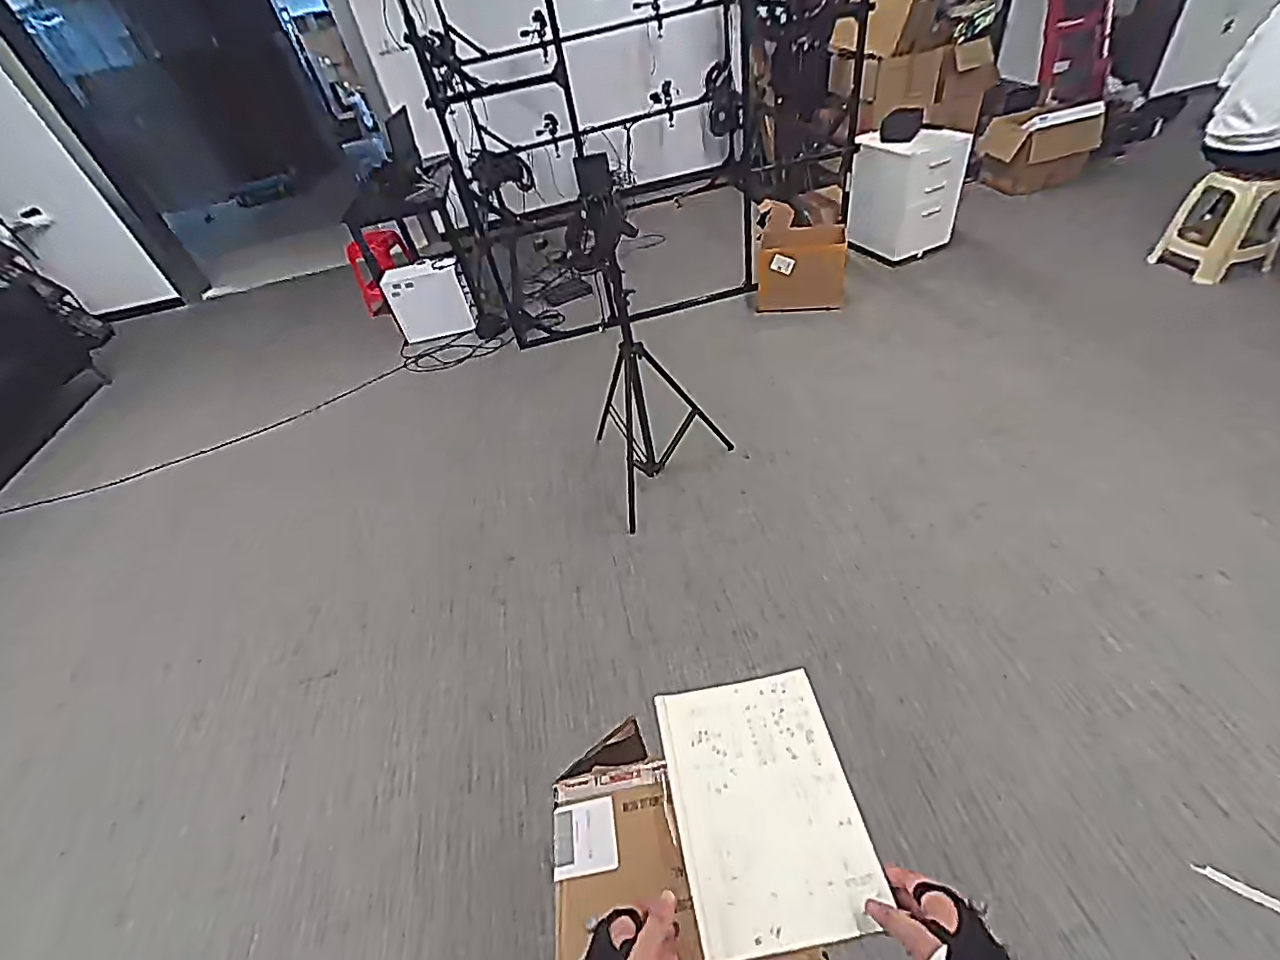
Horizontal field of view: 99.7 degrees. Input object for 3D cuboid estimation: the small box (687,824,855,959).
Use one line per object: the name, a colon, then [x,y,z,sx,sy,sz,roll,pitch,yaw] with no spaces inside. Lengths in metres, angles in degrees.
small box: [0.175,0.574,0.770,0.179,0.176,0.168,-15,43,-5]

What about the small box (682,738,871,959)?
small box: [0.151,0.452,0.665,0.168,0.176,0.179,-12,45,-3]
